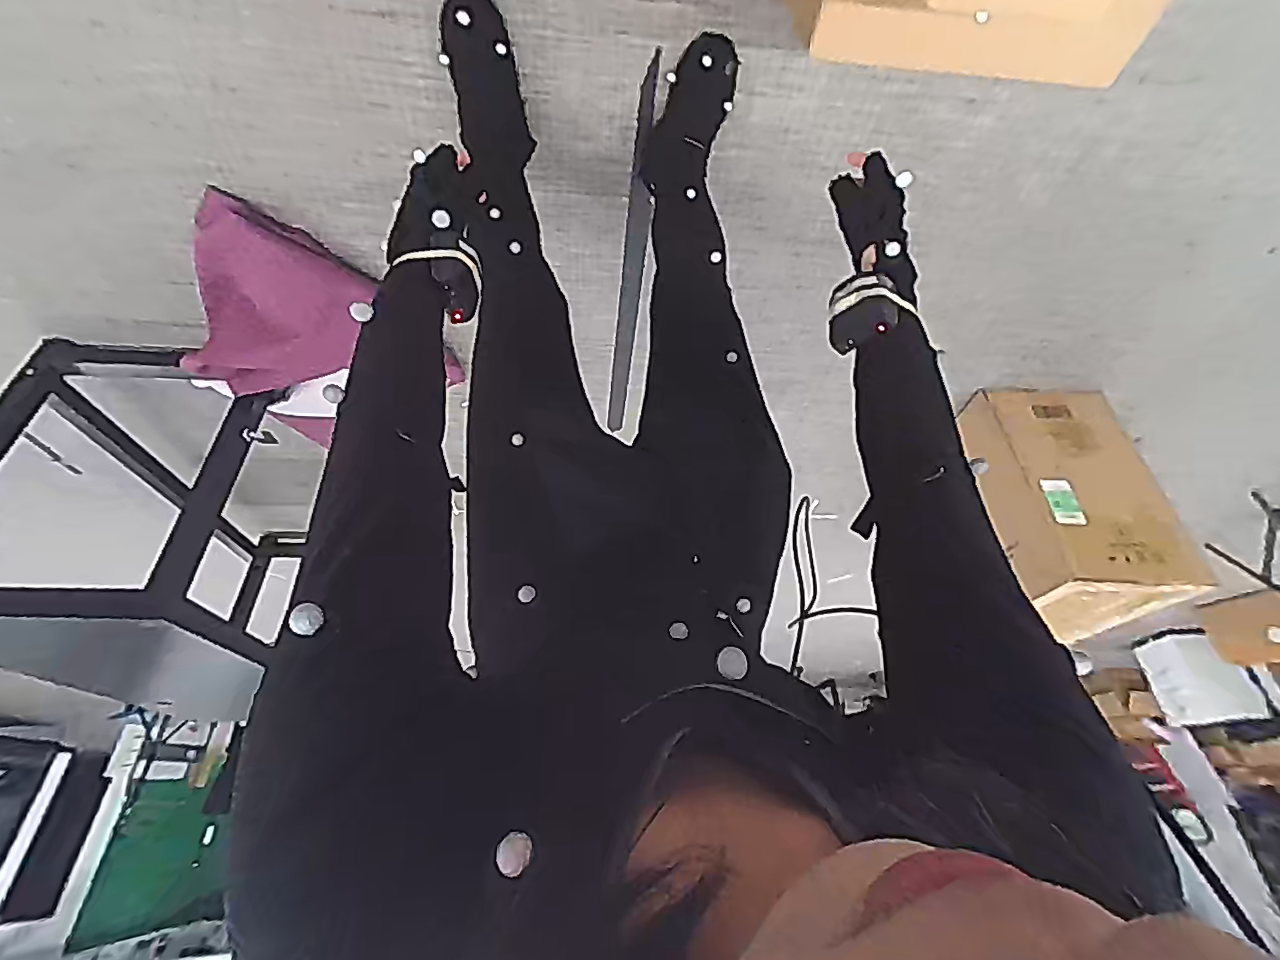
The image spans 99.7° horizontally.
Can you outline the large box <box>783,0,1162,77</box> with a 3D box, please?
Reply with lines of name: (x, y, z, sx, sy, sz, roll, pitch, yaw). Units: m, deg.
large box: (0.406, -0.724, 0.630, 0.408, 0.320, 0.320, 0, 148, -6)
